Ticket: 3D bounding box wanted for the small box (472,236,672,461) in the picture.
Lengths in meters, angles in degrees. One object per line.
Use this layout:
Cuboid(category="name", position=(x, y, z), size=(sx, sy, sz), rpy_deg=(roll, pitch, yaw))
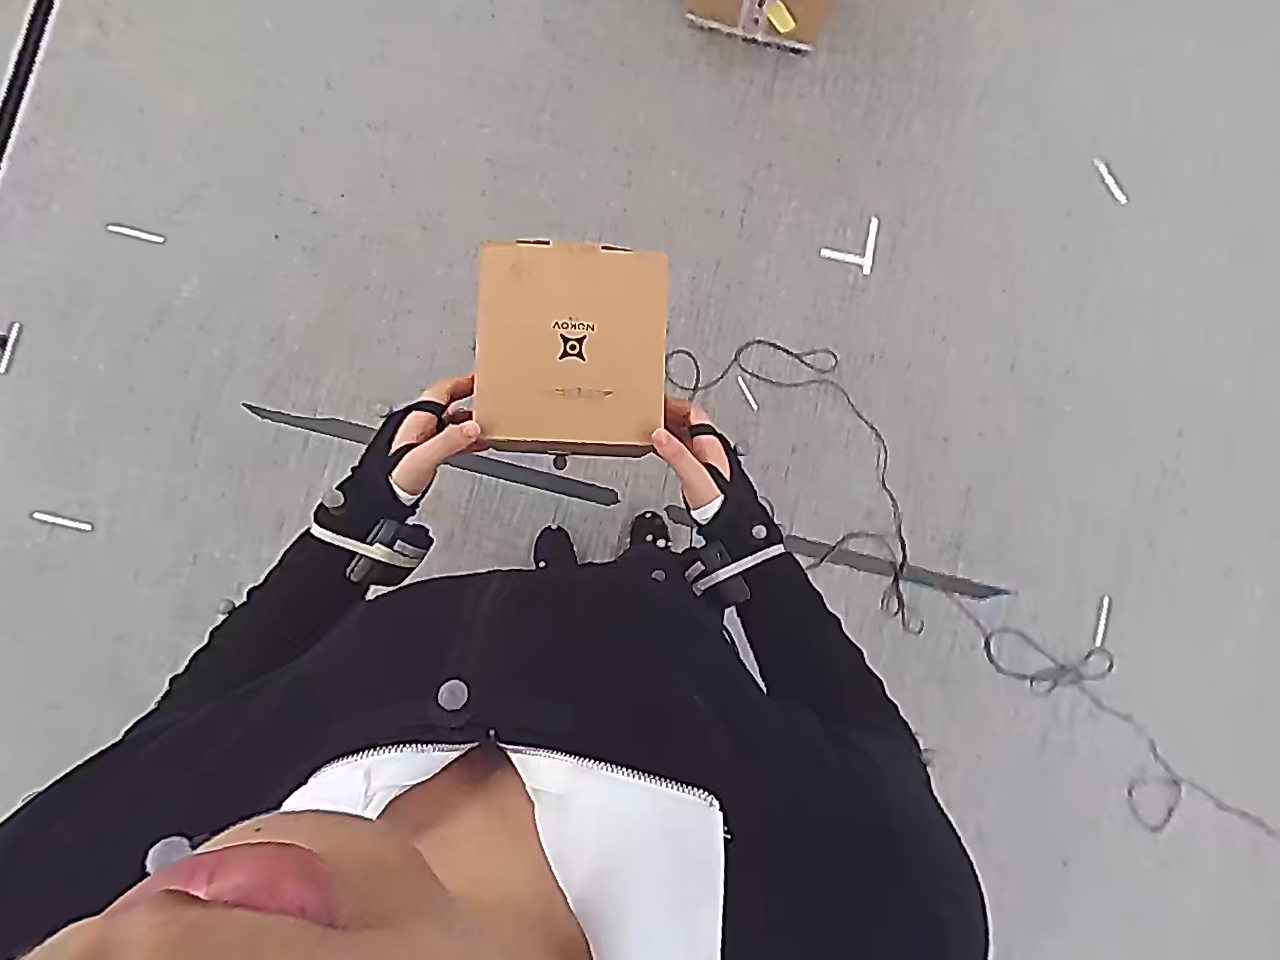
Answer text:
Cuboid(category="small box", position=(-0.067, -0.116, 0.548), size=(0.168, 0.176, 0.179), rpy_deg=(3, 89, -7))
